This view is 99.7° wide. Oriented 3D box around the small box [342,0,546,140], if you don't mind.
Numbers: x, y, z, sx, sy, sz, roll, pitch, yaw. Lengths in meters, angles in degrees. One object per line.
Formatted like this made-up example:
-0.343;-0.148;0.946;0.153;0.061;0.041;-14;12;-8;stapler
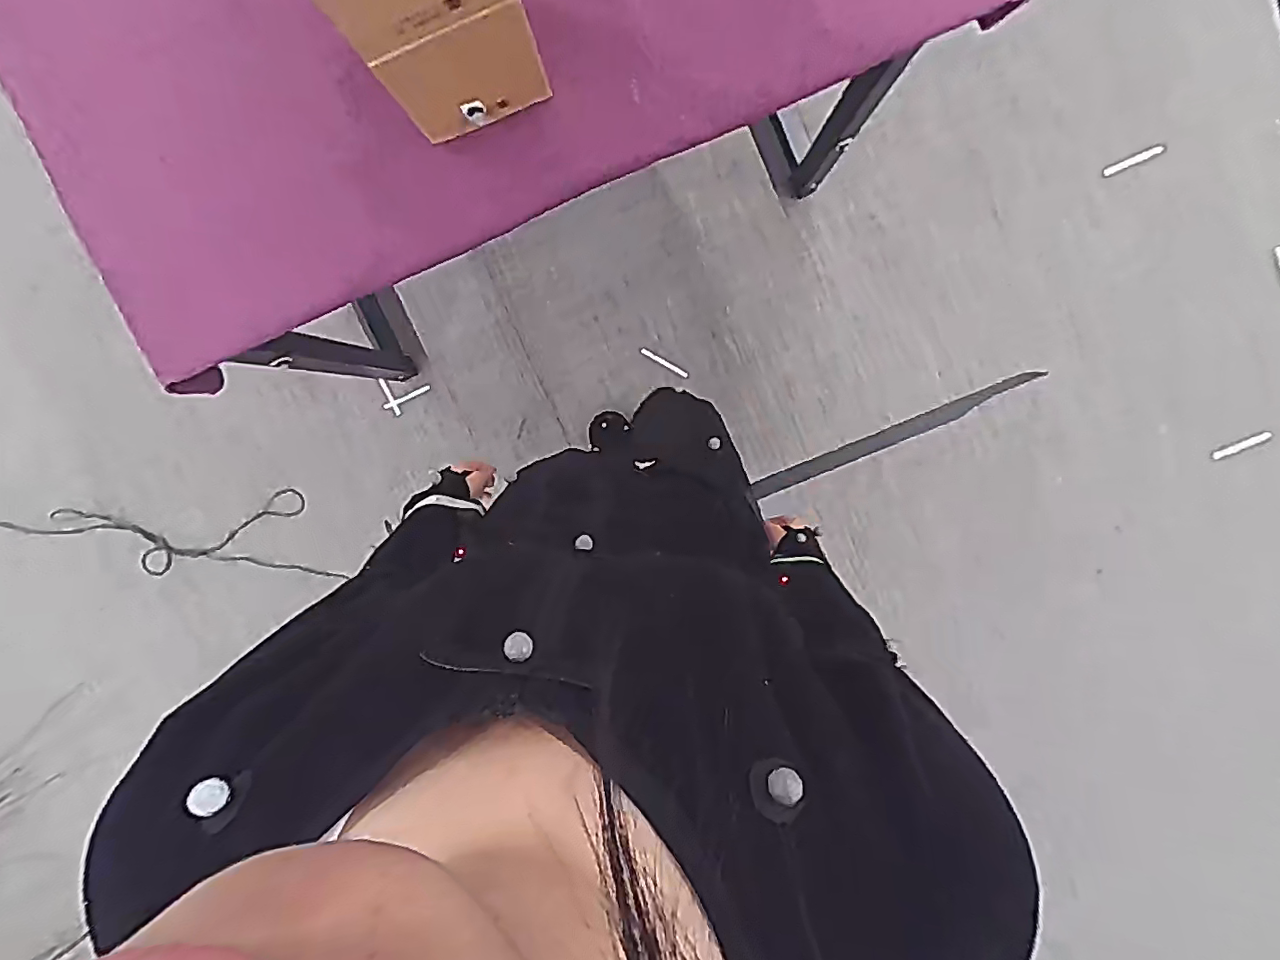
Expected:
-0.220;-0.525;0.595;0.168;0.176;0.179;-21;97;4;small box
